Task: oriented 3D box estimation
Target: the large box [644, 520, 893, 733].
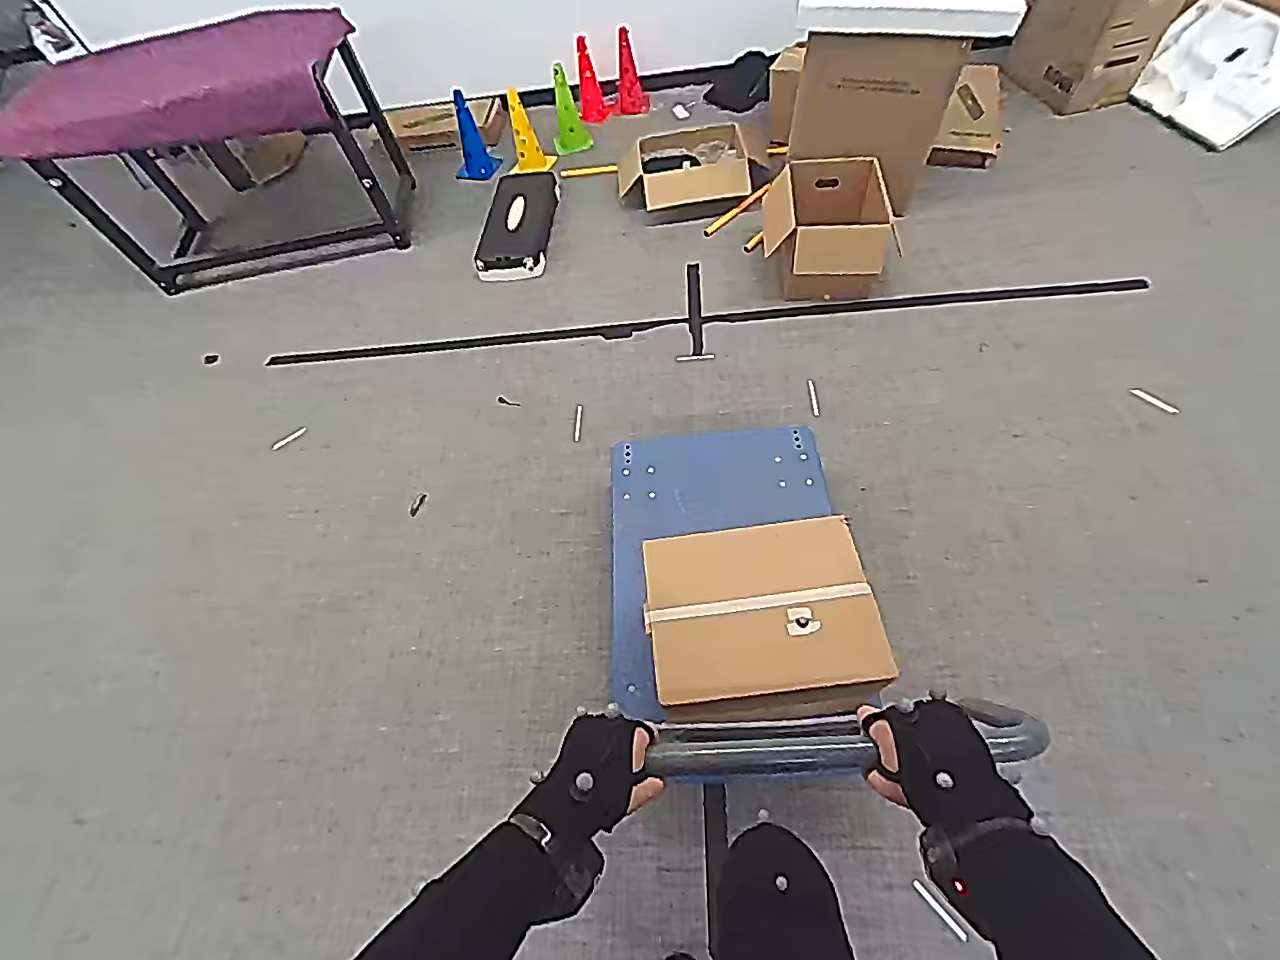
[{"bbox_3d":[0.232,0.315,1.125,0.408,0.320,0.320,-8,58,1],"label":"large box"}]
